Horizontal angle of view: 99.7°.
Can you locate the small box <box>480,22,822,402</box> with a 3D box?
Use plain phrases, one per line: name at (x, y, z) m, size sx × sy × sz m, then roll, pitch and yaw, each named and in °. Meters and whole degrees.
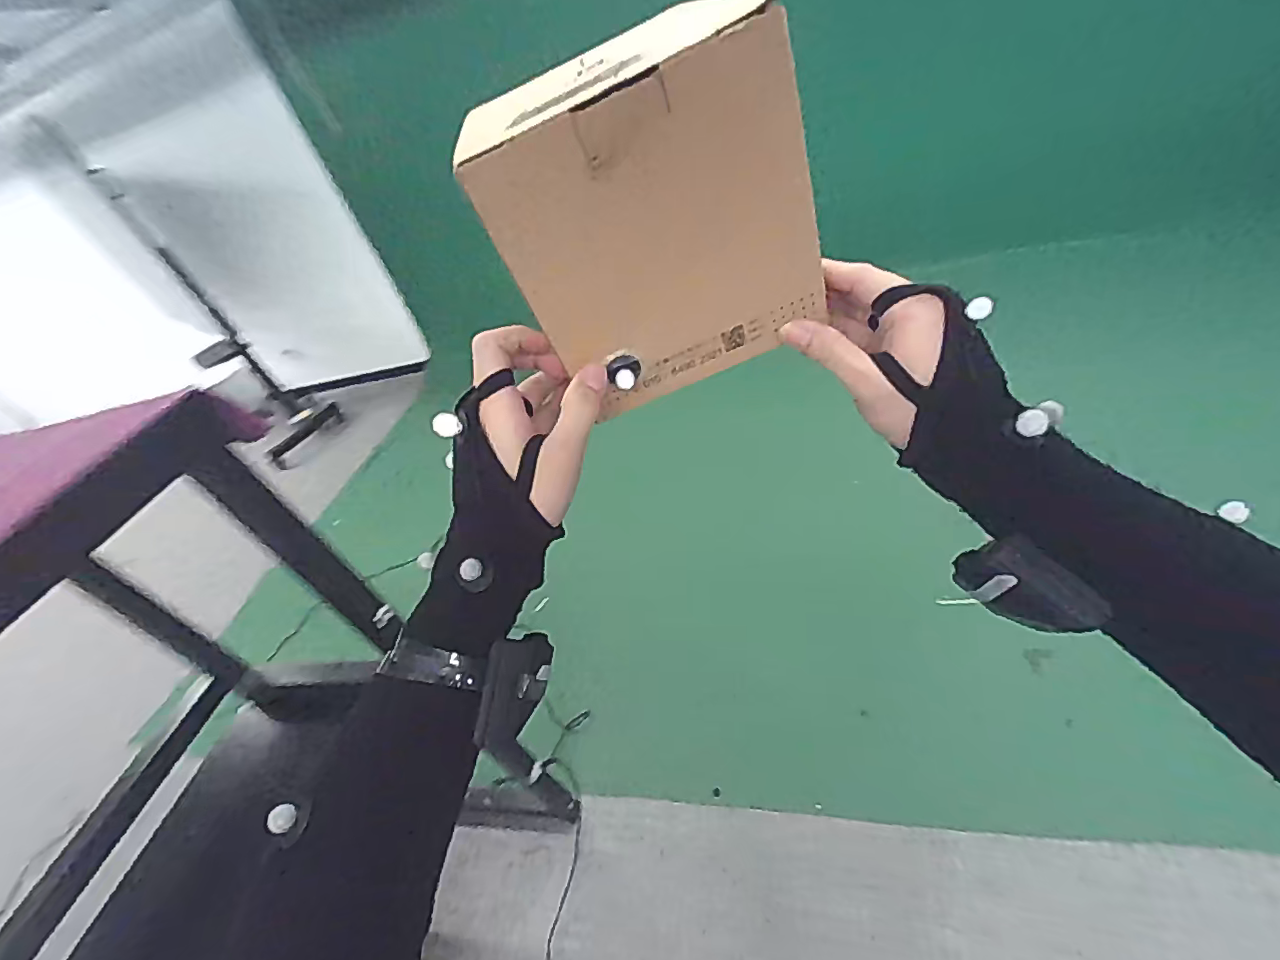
small box at (0.009, -0.176, 0.376) m, size 0.168 × 0.176 × 0.179 m, roll -22°, pitch 40°, yaw 7°
